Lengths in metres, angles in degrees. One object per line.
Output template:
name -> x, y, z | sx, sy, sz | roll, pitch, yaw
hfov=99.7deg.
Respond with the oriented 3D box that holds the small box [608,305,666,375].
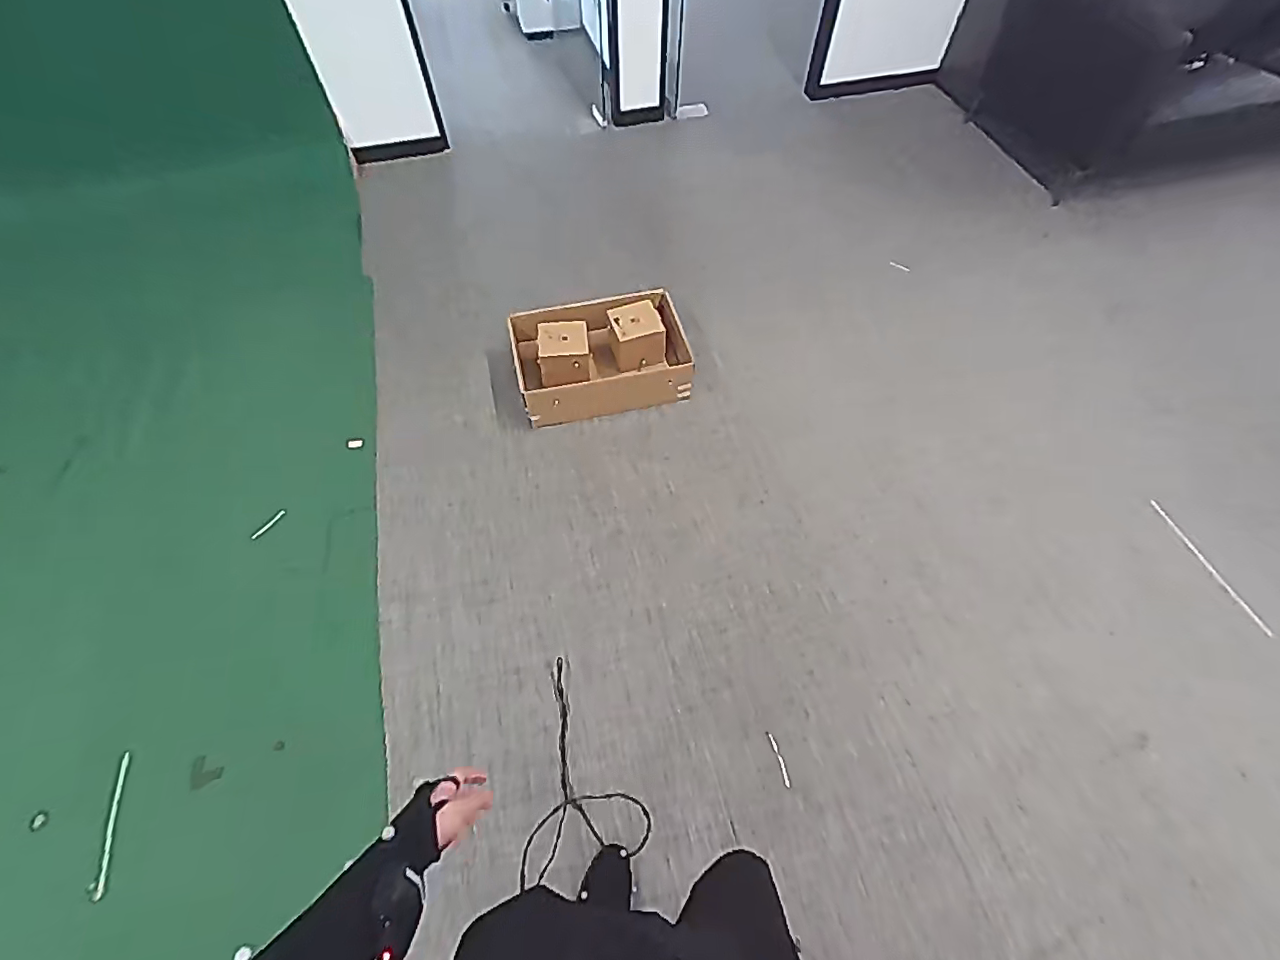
small box -> -0.014, -0.517, 2.008 | 0.179, 0.176, 0.168 | -17, 61, -9
